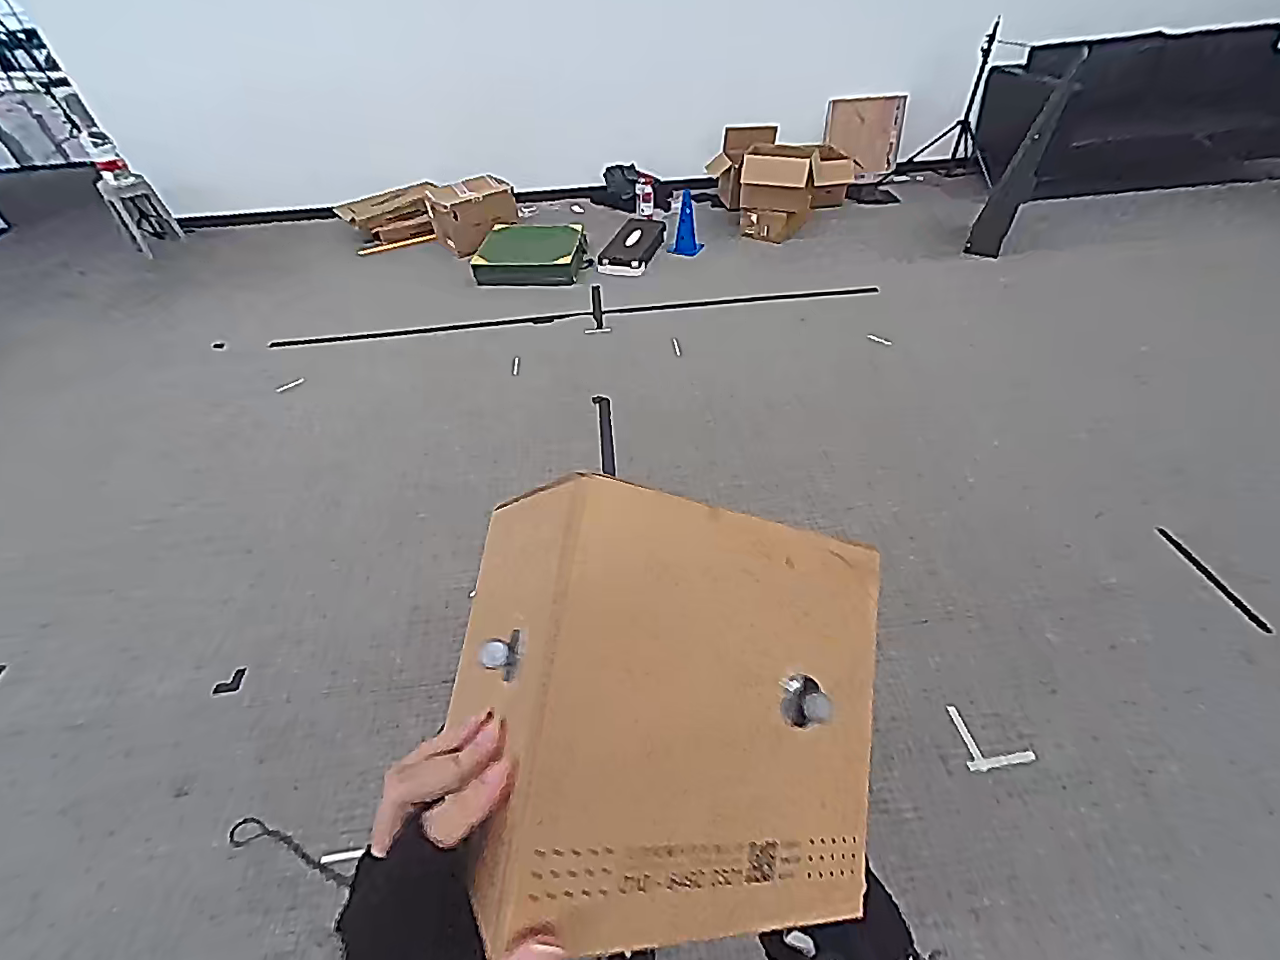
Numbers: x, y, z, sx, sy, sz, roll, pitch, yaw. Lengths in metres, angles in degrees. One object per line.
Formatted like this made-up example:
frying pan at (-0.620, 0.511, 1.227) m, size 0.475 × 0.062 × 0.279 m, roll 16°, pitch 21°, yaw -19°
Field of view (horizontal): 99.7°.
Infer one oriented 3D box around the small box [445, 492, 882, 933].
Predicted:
small box at (0.003, 0.113, 0.301) m, size 0.168 × 0.179 × 0.176 m, roll 17°, pitch 75°, yaw -25°
